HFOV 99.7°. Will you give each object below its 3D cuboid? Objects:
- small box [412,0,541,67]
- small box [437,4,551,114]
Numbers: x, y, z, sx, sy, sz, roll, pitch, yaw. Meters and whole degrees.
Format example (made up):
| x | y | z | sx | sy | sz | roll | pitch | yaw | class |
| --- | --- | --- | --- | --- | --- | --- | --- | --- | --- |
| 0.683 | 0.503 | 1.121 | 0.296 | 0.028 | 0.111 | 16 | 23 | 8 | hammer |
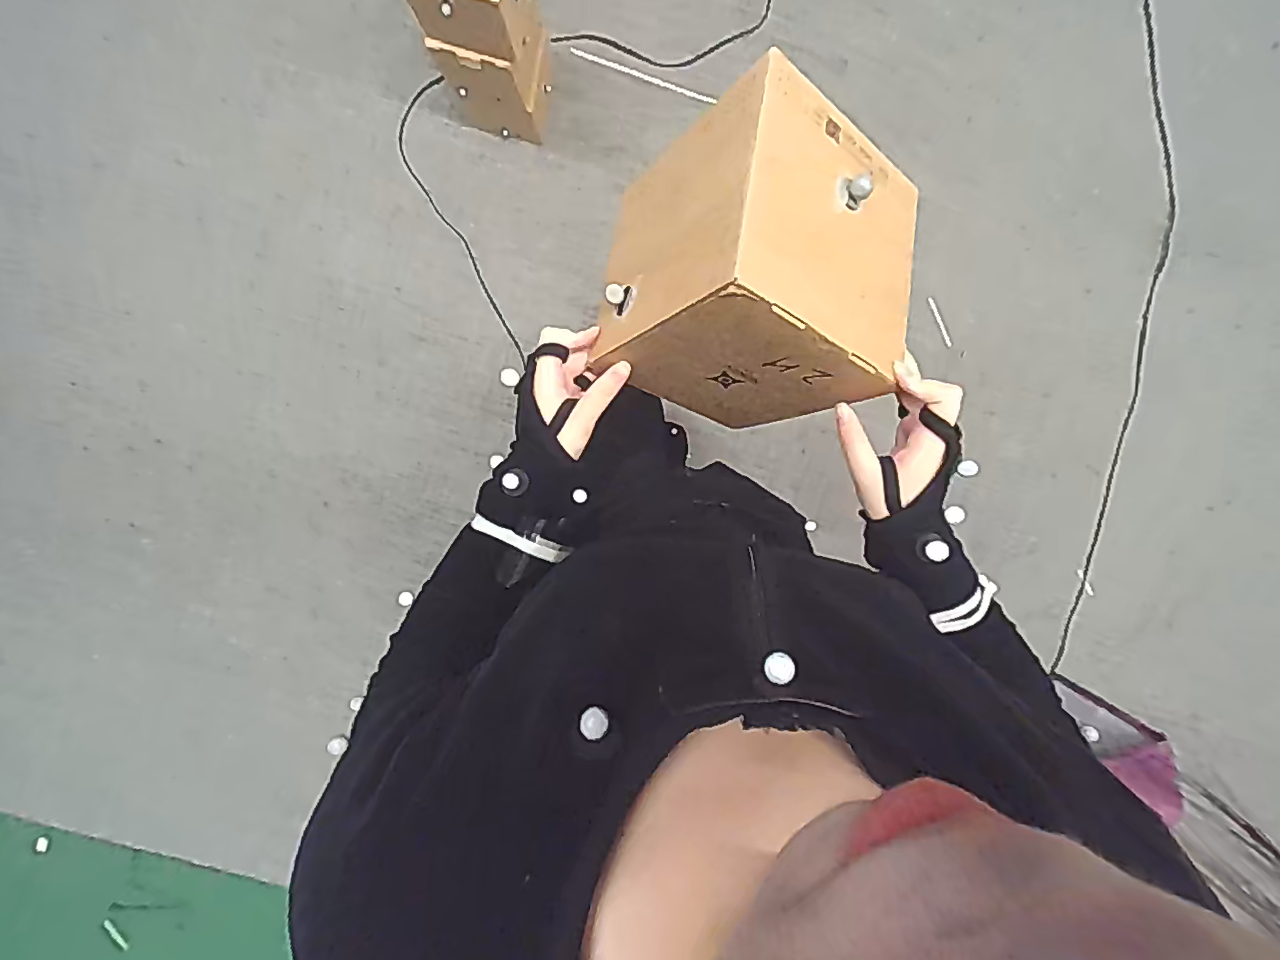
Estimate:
| x | y | z | sx | sy | sz | roll | pitch | yaw | class |
| --- | --- | --- | --- | --- | --- | --- | --- | --- | --- |
| -0.273 | -0.856 | 0.927 | 0.179 | 0.176 | 0.168 | 14 | 100 | -1 | small box |
| -0.285 | -0.882 | 1.088 | 0.168 | 0.176 | 0.179 | 14 | 99 | -2 | small box |
